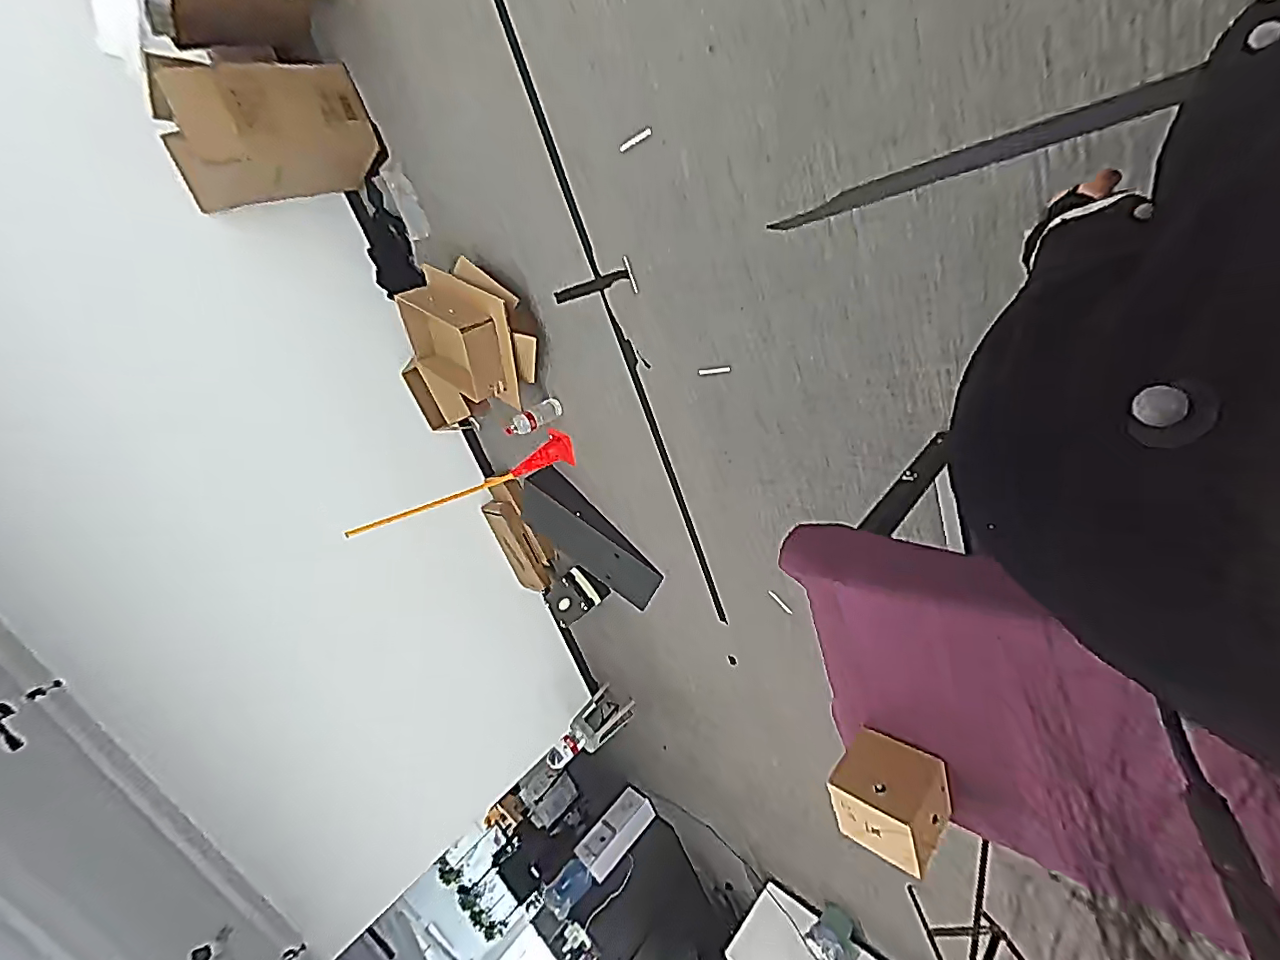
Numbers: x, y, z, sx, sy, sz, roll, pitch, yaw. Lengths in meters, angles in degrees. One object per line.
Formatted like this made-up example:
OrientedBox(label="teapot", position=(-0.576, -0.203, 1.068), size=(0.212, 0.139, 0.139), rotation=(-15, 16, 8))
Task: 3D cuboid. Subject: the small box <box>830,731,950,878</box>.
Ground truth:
OrientedBox(label="small box", position=(0.535, 0.671, 1.144), size=(0.179, 0.176, 0.168), rotation=(7, 123, 49))
